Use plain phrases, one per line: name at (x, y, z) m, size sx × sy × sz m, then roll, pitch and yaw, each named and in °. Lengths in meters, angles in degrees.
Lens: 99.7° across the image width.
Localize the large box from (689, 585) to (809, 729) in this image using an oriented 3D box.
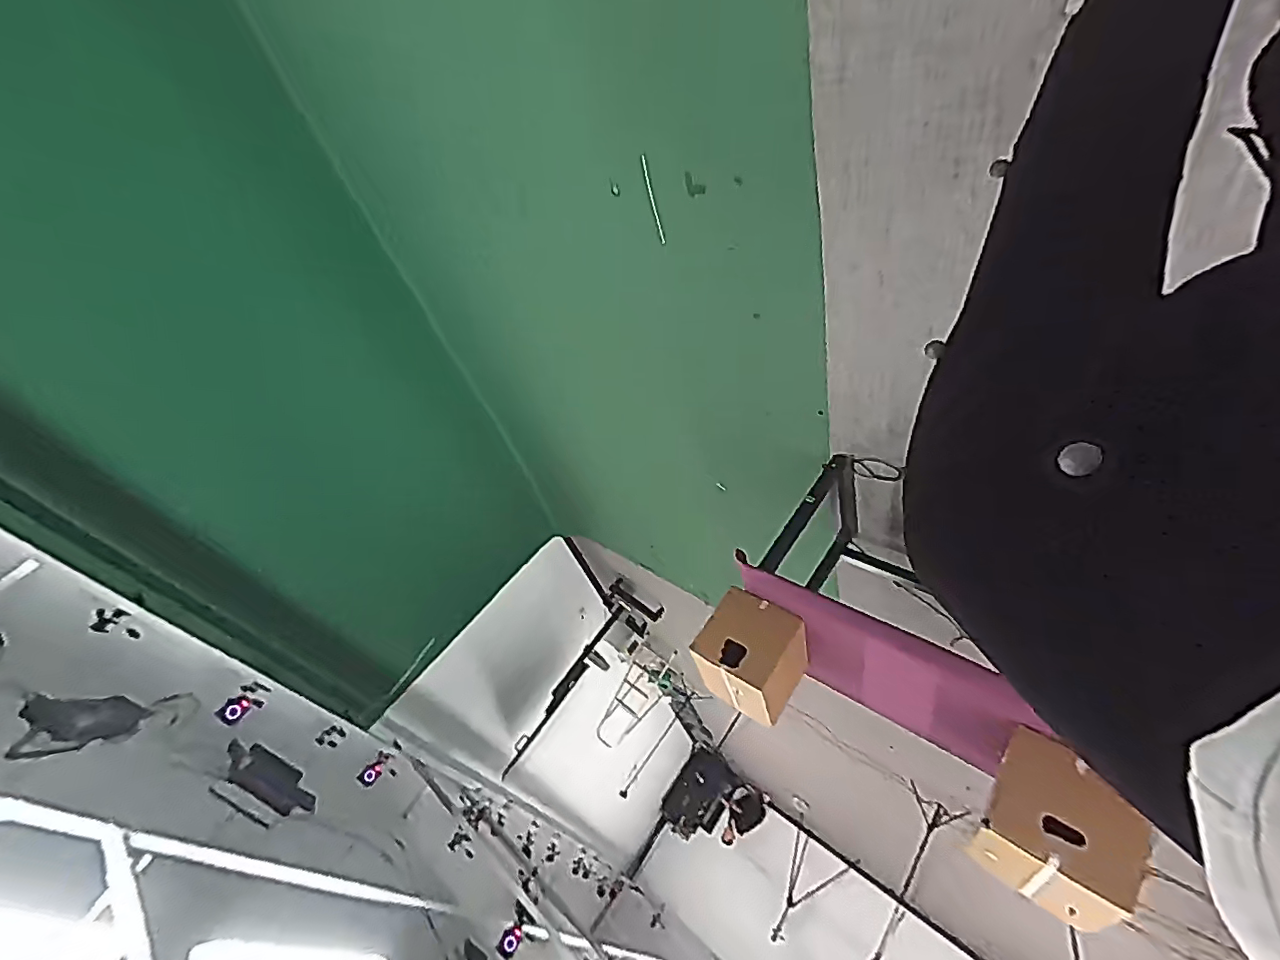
large box at (0.439, 0.686, 2.108) m, size 0.320 × 0.320 × 0.408 m, roll 21°, pitch 148°, yaw 35°
